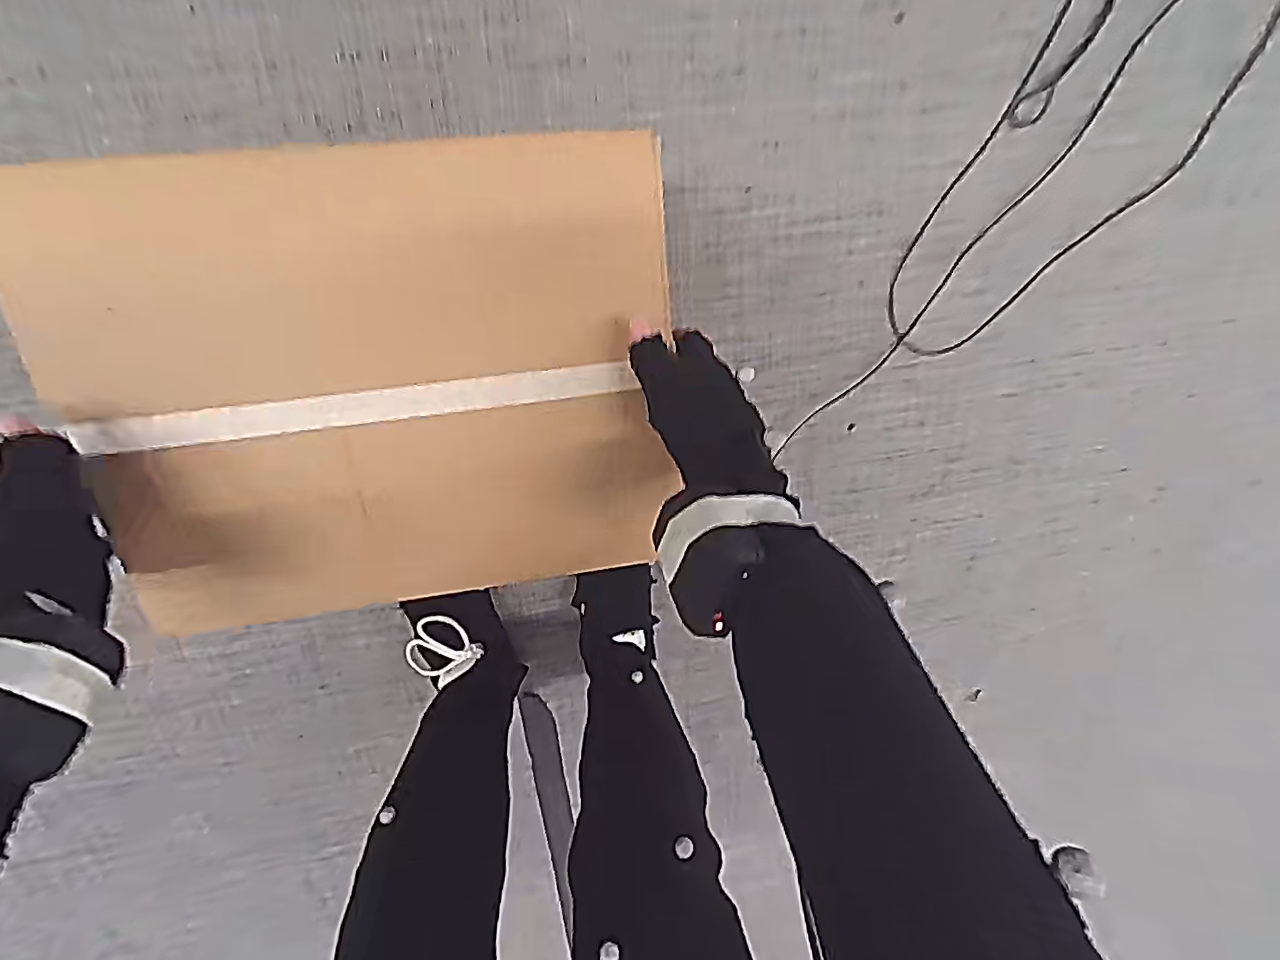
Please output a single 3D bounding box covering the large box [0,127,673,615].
[{"bbox_3d":[-0.201,-0.114,0.524,0.408,0.320,0.320,-7,110,-8],"label":"large box"}]
